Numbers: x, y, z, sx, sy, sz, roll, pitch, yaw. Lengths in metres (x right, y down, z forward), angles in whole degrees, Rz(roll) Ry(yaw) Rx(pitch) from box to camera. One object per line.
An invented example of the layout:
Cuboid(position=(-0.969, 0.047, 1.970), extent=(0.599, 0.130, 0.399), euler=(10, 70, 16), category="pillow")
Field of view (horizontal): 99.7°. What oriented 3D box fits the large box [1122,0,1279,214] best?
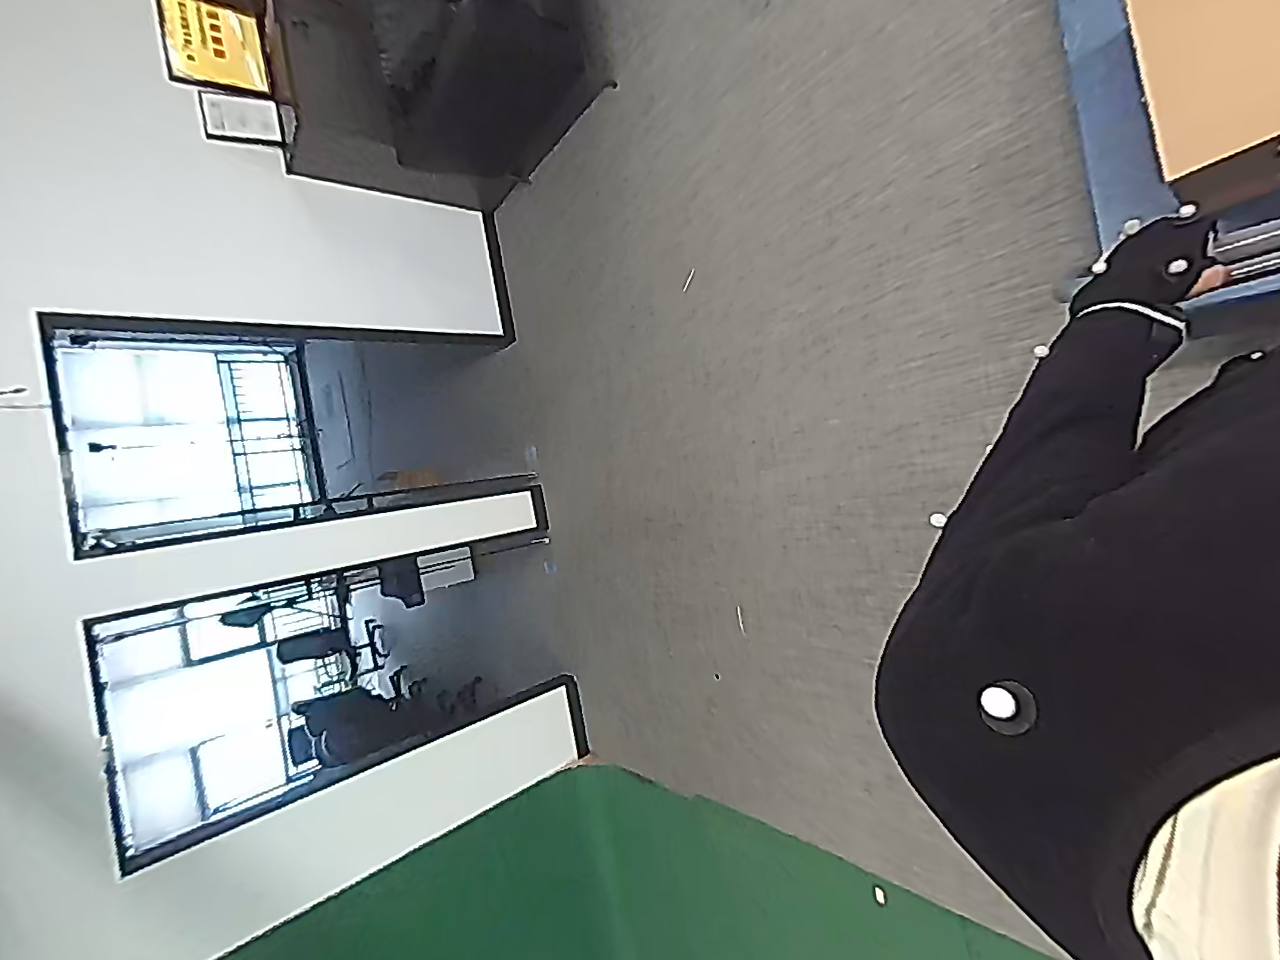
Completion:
Cuboid(position=(0.992, -0.694, 0.821), extent=(0.320, 0.320, 0.408), euler=(-14, 86, 51), category="large box")
